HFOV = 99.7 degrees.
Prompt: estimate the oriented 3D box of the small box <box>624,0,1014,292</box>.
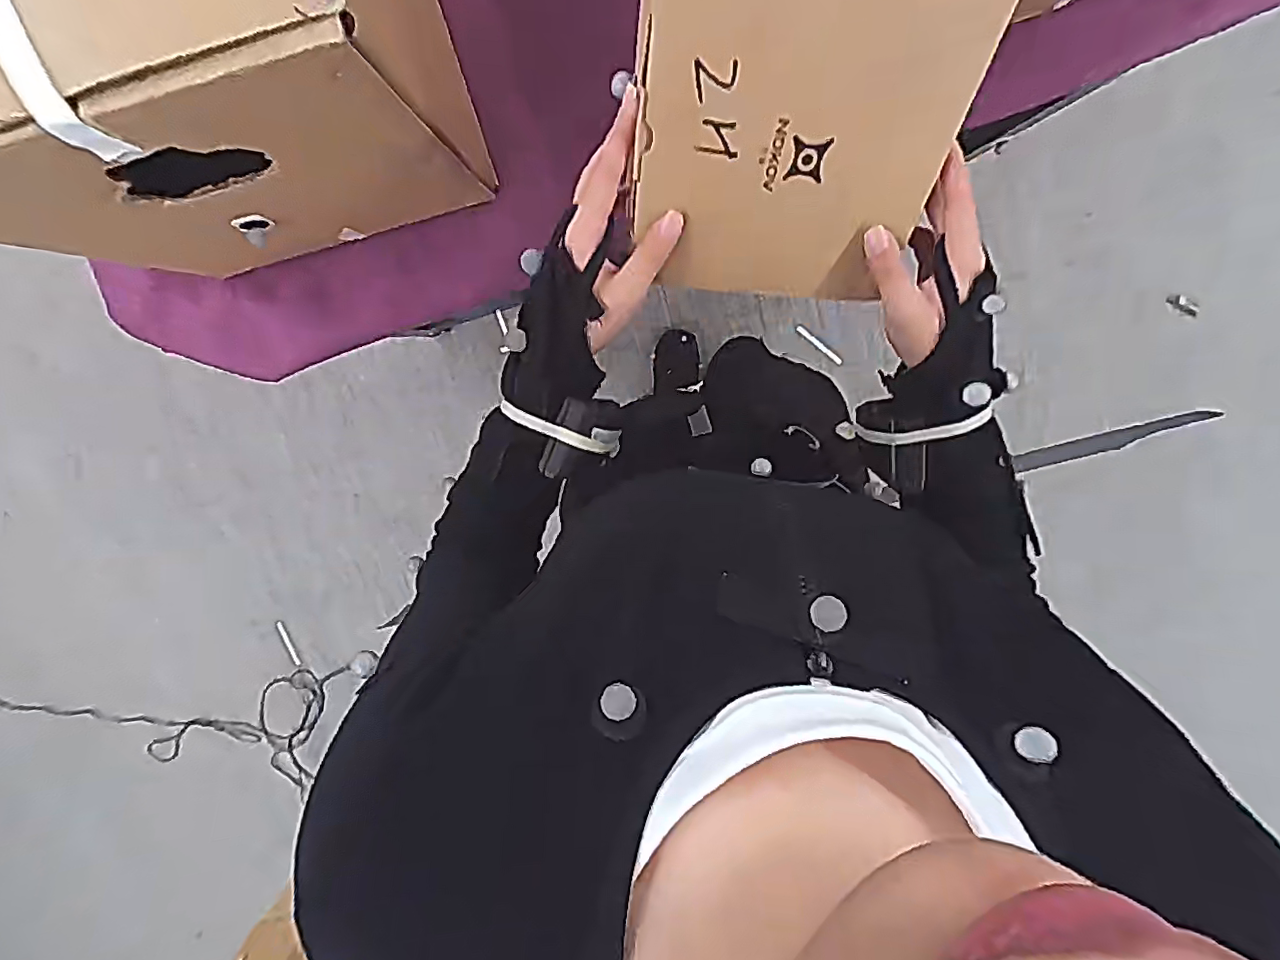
[{"bbox_3d":[0.083,-0.246,0.354,0.179,0.176,0.168,4,137,-5],"label":"small box"}]
